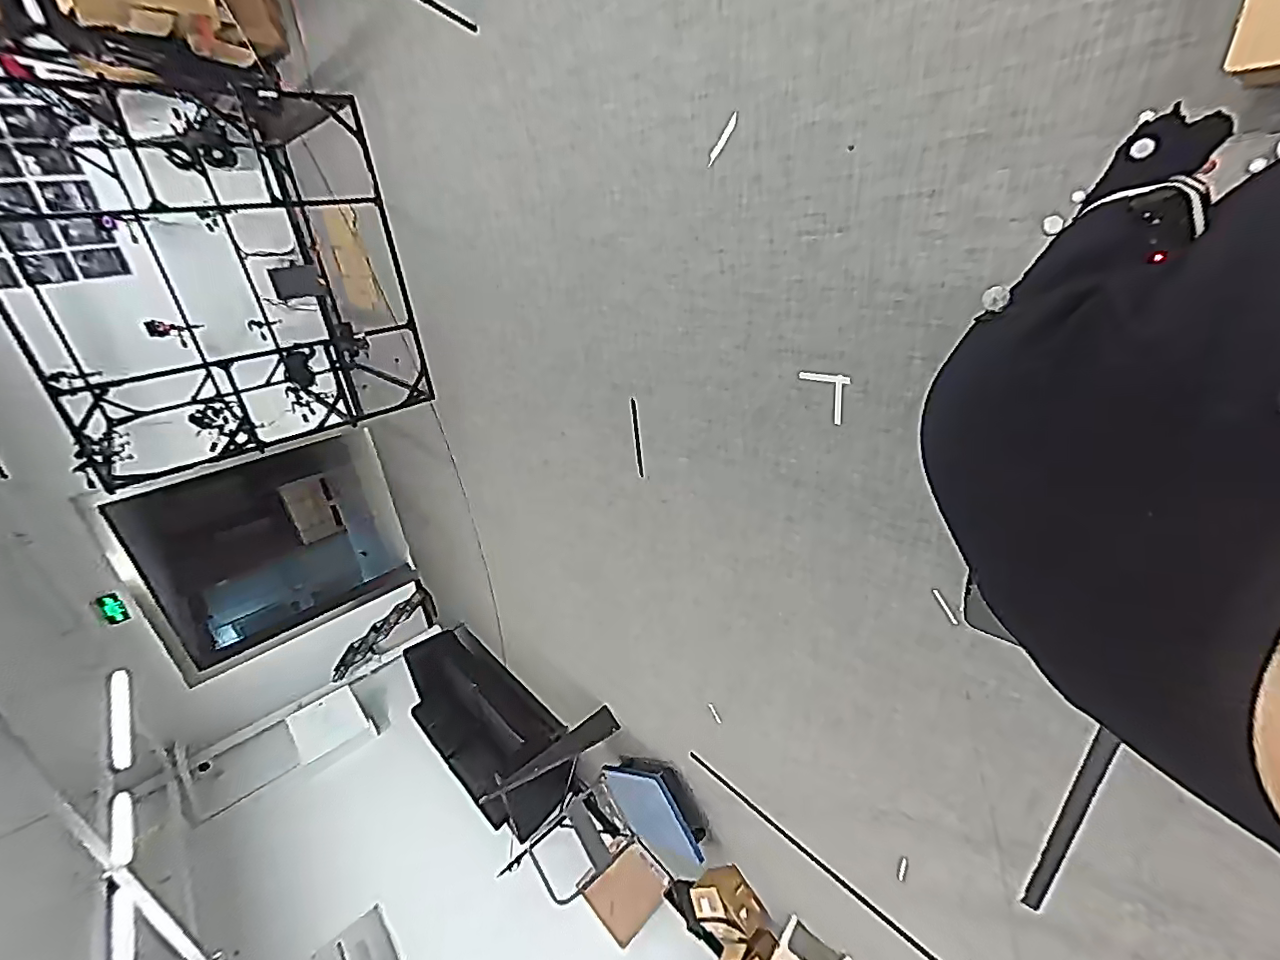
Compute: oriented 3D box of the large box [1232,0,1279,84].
[{"bbox_3d":[1.024,-0.695,0.619,0.408,0.320,0.320,22,128,43],"label":"large box"}]
